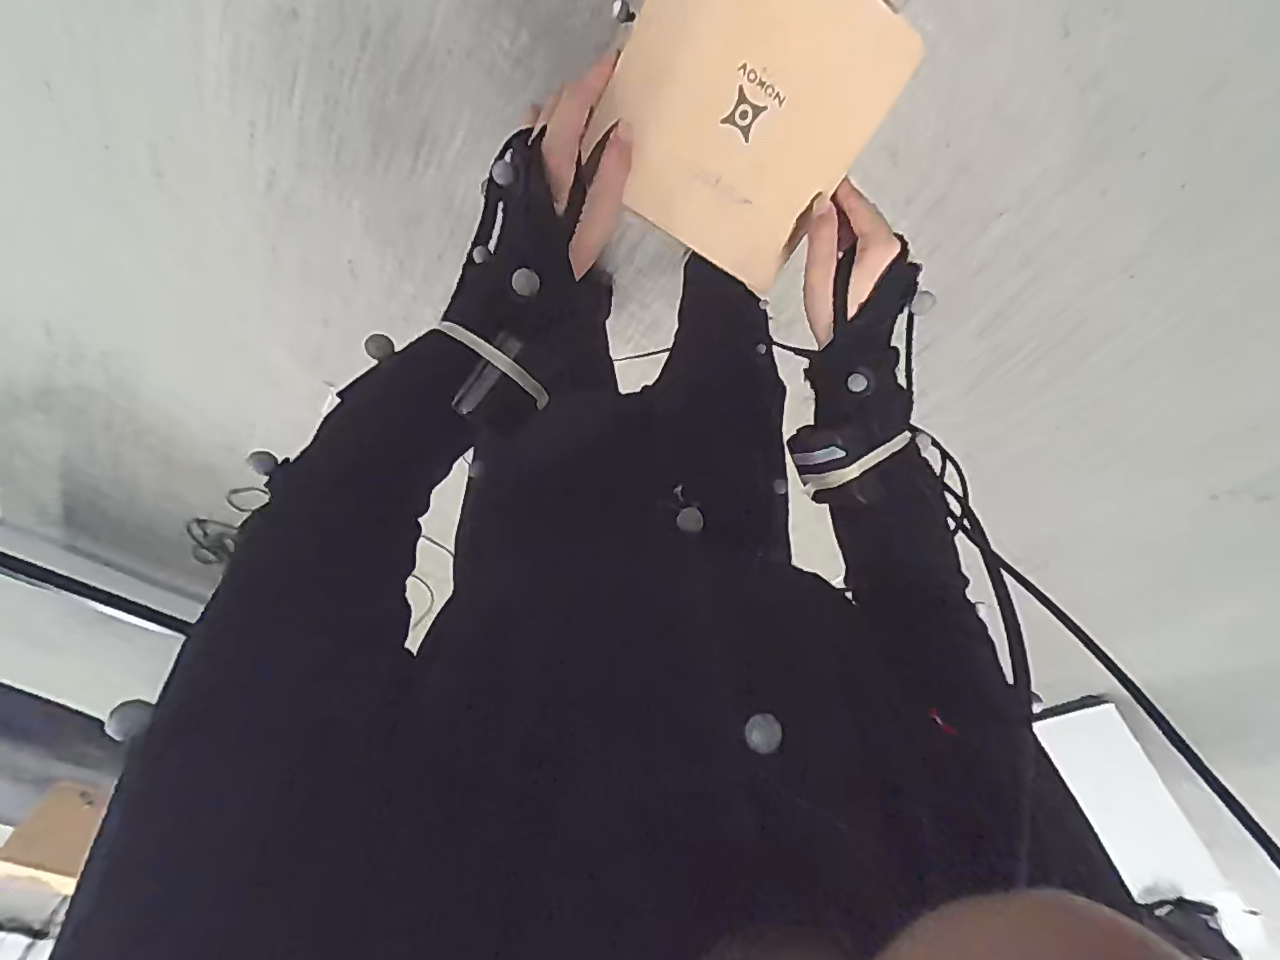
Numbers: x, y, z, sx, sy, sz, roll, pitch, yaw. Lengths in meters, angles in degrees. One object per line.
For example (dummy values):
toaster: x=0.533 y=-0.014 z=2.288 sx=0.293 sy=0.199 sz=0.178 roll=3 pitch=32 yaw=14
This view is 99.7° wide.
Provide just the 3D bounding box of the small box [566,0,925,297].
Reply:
small box: x=0.053 y=-0.272 z=0.398 sx=0.168 sy=0.176 sz=0.179 roll=22 pitch=119 yaw=-20
